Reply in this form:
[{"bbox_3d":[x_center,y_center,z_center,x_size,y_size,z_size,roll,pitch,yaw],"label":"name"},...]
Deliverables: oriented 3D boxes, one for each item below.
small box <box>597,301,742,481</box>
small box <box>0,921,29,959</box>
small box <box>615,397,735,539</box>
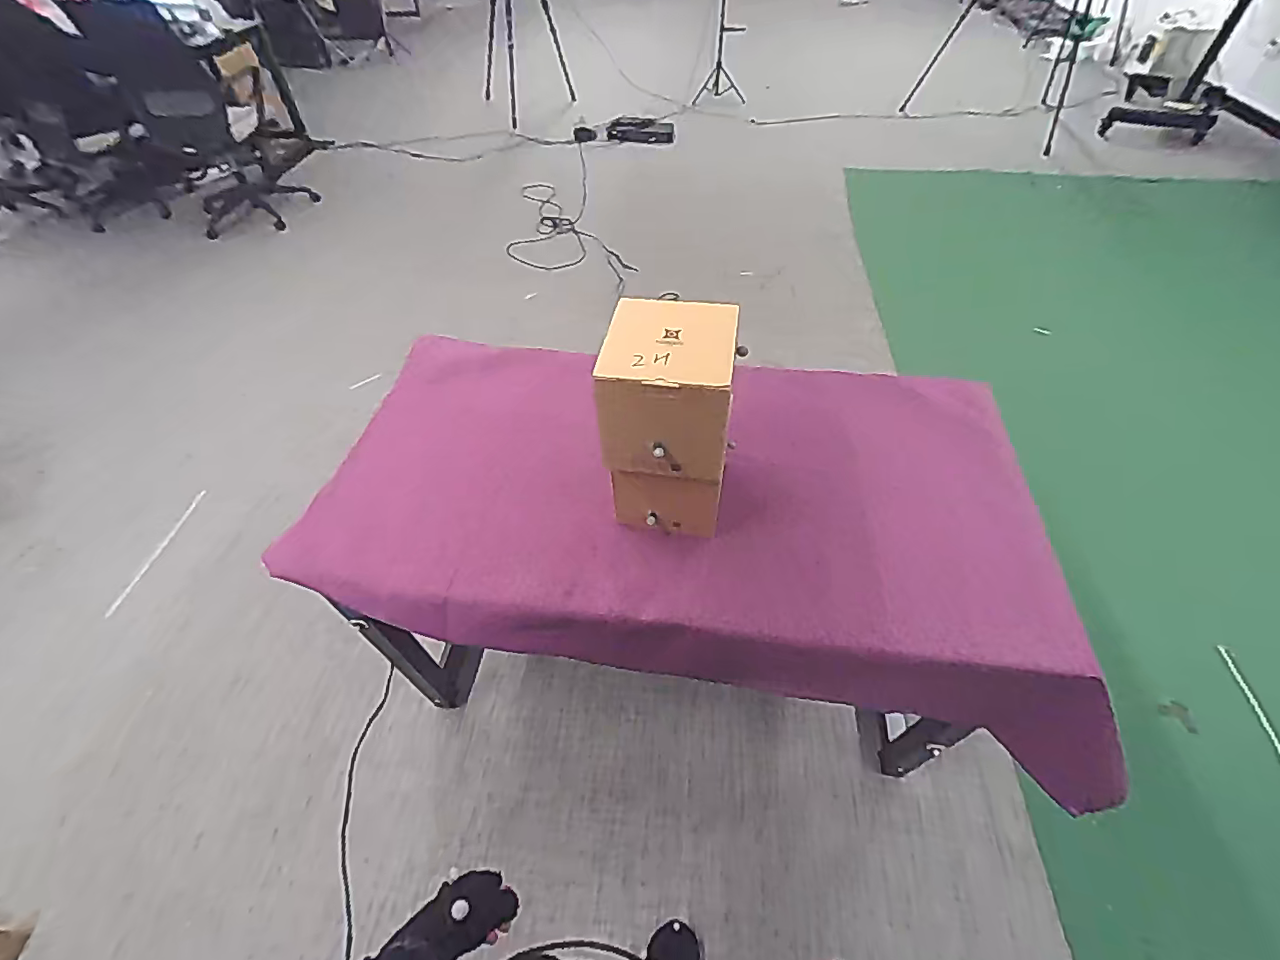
[{"bbox_3d":[0.045,-0.124,0.751,0.168,0.176,0.179,6,51,9],"label":"small box"},{"bbox_3d":[-1.380,0.955,1.044,0.179,0.176,0.168,3,50,5],"label":"small box"},{"bbox_3d":[0.056,-0.030,0.885,0.168,0.176,0.179,8,51,9],"label":"small box"}]
